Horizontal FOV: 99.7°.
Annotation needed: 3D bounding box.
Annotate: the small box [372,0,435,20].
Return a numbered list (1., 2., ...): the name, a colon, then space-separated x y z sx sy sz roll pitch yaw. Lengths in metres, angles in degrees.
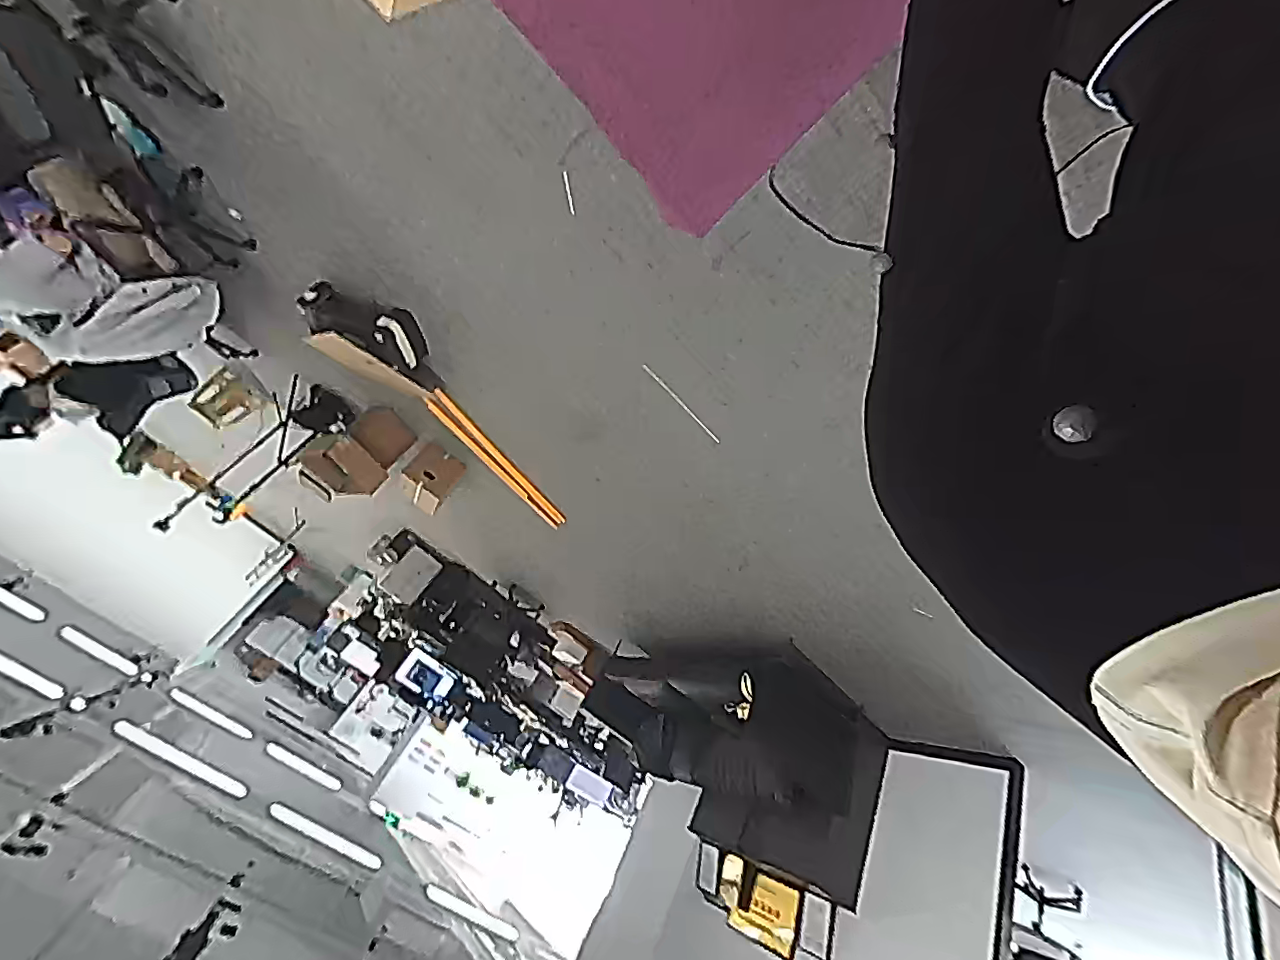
1. small box: -0.219 -0.575 0.475 0.179 0.176 0.168 42 147 -14
